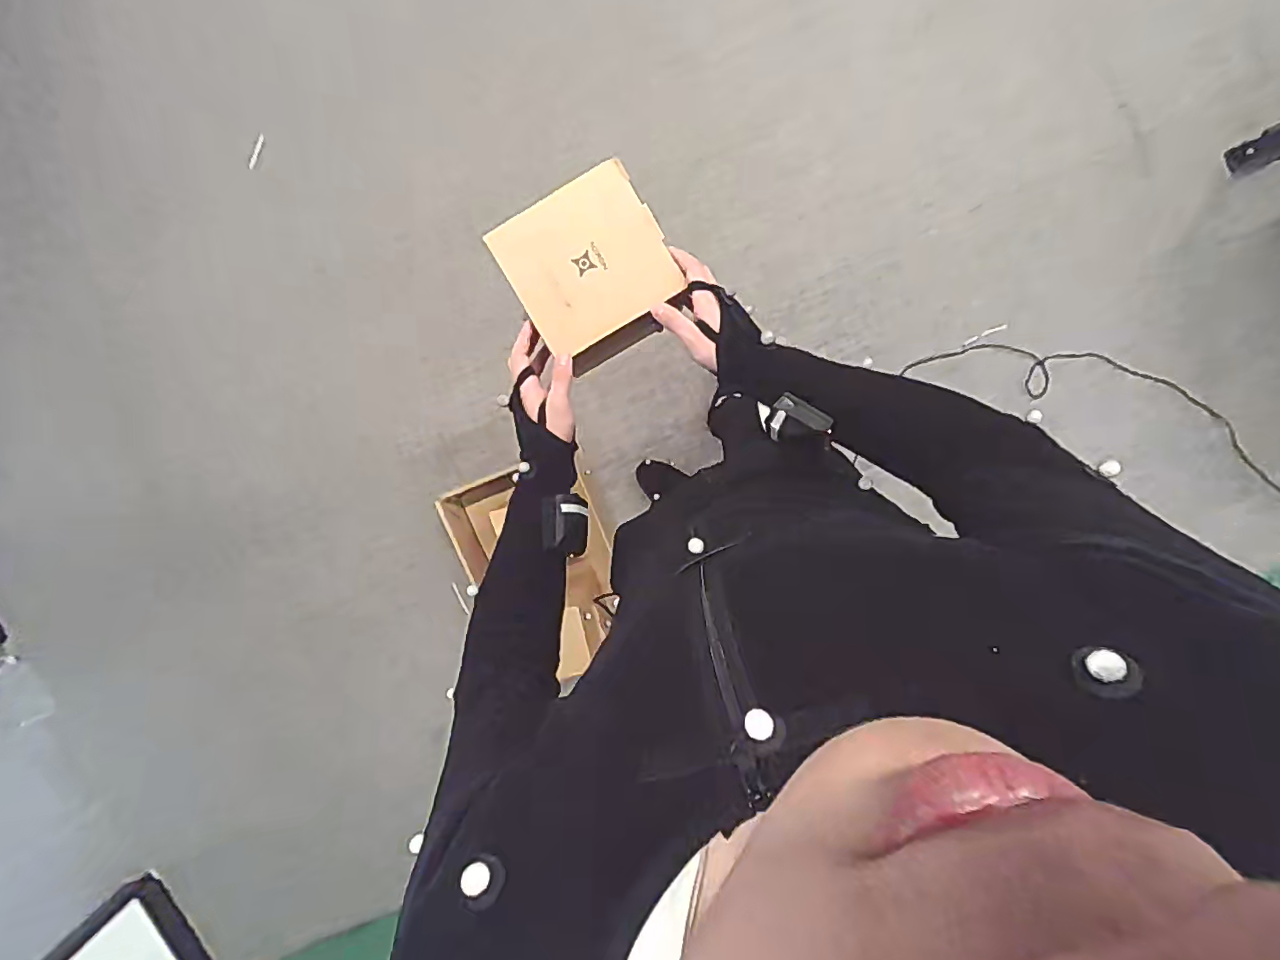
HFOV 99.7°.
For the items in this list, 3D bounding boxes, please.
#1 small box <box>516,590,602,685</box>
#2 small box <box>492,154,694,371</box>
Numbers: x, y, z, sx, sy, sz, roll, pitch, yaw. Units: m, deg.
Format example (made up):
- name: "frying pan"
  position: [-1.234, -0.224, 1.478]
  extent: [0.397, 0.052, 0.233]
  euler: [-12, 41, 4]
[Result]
- name: "small box"
  position: [-0.200, 0.393, 1.384]
  extent: [0.168, 0.176, 0.179]
  euler: [-12, 96, 4]
- name: "small box"
  position: [-0.053, -0.254, 0.677]
  extent: [0.179, 0.176, 0.168]
  euler: [-29, 94, 3]
